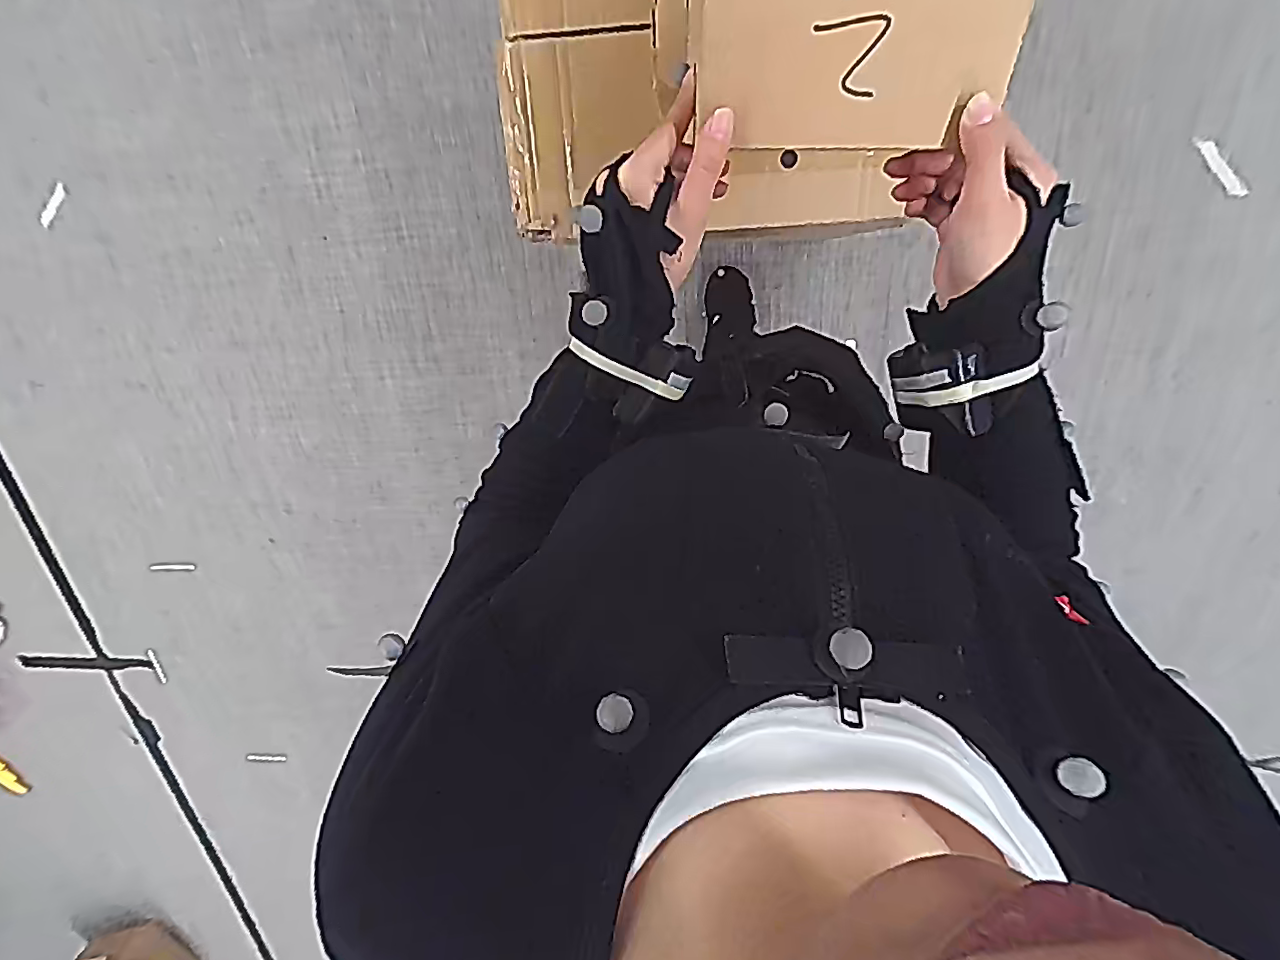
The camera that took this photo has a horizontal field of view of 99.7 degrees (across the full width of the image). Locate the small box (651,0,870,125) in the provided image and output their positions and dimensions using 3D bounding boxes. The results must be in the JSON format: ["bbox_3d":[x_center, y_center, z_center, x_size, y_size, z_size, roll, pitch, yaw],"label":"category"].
[{"bbox_3d":[0.103,-0.443,0.498,0.179,0.176,0.168,0,112,5],"label":"small box"}]
